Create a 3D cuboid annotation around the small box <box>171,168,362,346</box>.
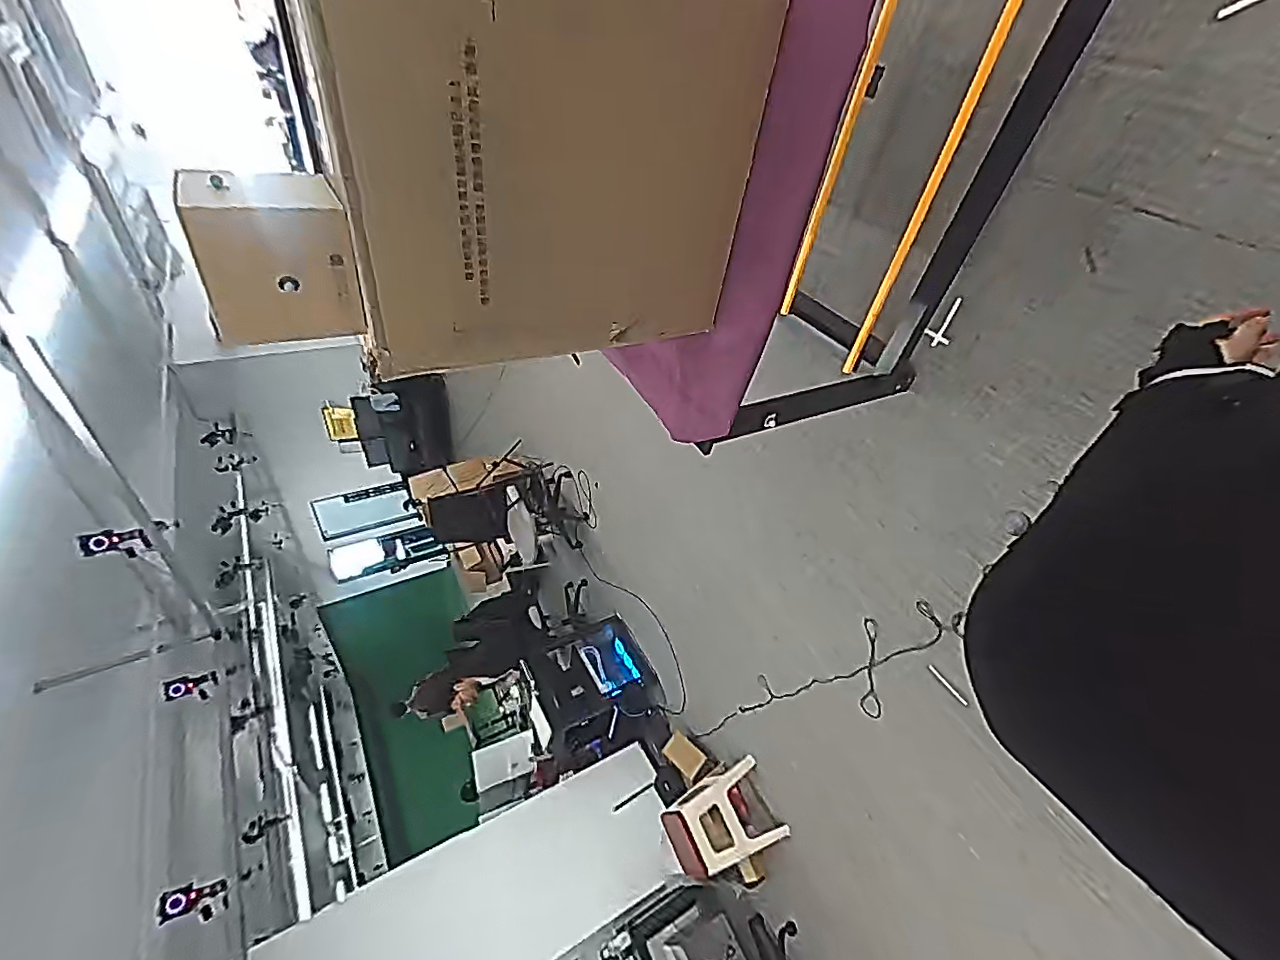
[{"bbox_3d":[-0.480,-0.299,0.714,0.179,0.176,0.168,50,142,38],"label":"small box"}]
